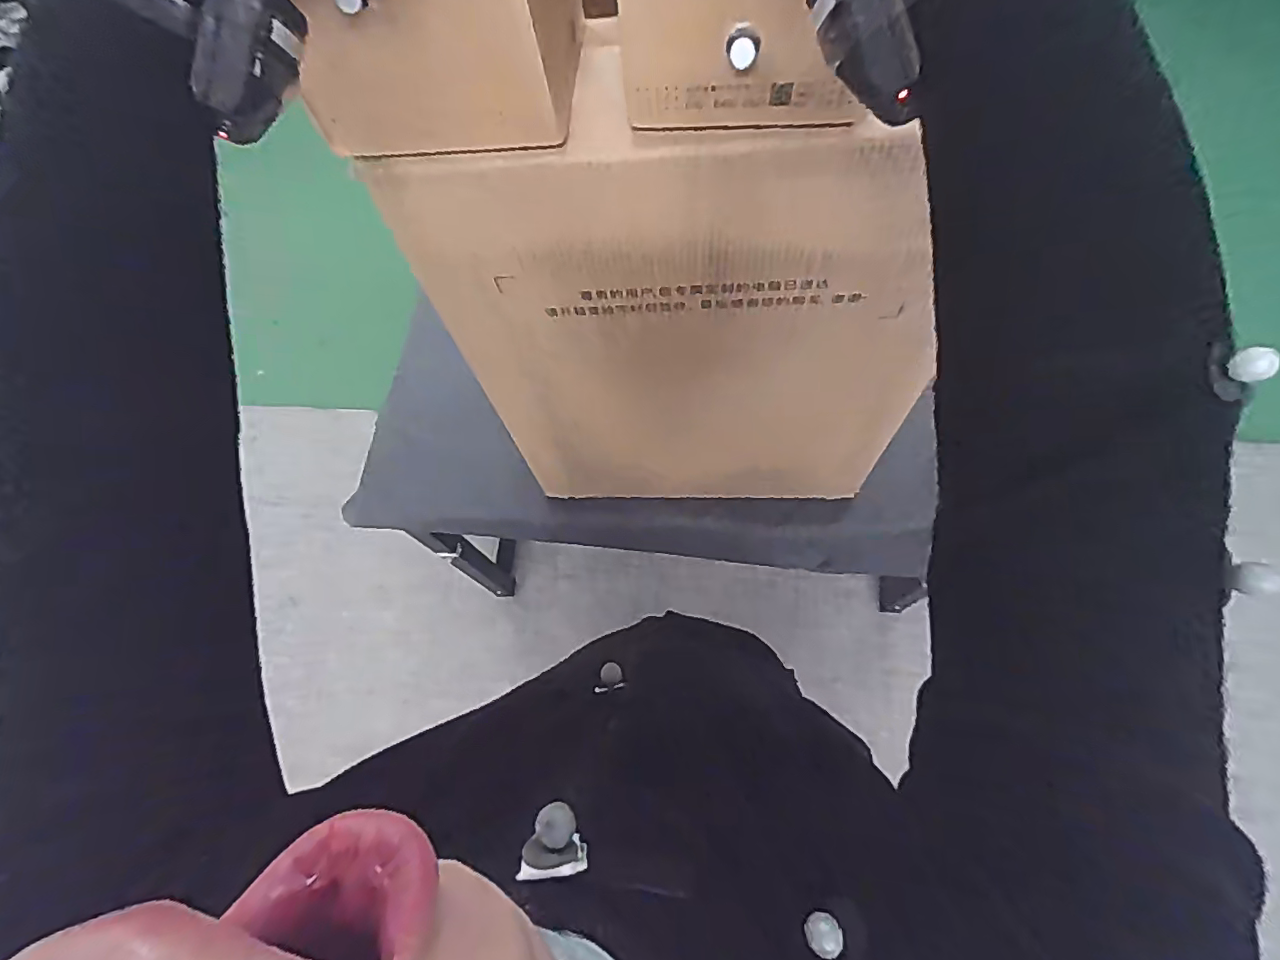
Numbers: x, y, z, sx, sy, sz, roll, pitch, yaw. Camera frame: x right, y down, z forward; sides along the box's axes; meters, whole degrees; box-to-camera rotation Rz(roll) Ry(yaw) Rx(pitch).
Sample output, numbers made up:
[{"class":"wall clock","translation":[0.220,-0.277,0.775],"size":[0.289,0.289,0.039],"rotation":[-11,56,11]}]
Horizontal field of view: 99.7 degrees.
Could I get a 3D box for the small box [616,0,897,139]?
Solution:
[{"class":"small box","translation":[0.072,-0.353,0.340],"size":[0.168,0.176,0.179],"rotation":[4,67,5]}]
